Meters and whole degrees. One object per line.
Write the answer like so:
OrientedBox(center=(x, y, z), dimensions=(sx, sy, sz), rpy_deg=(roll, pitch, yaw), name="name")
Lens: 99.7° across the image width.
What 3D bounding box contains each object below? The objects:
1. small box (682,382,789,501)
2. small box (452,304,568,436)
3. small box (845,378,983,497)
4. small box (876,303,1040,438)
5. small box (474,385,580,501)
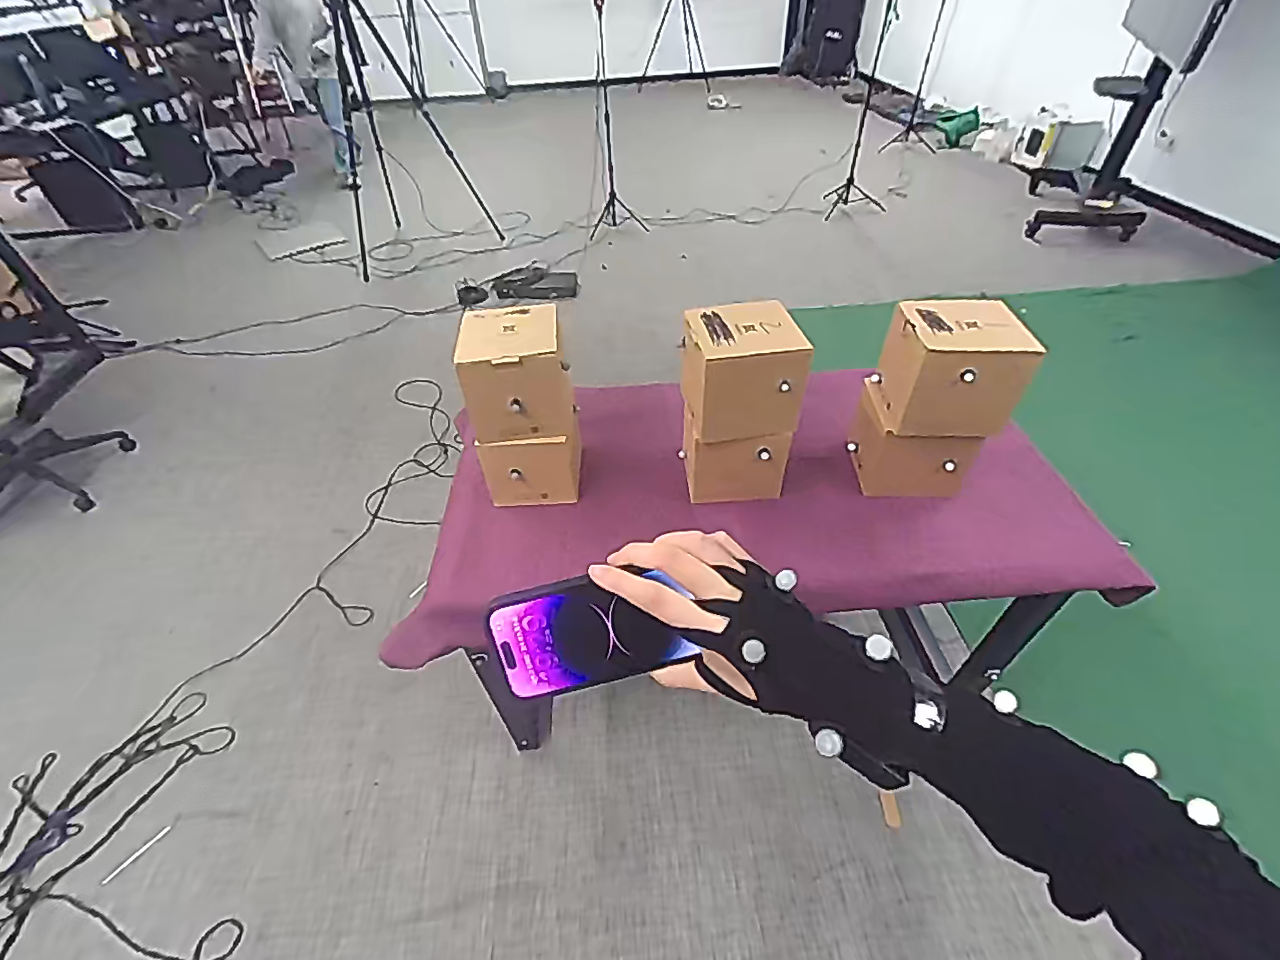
OrientedBox(center=(0.177, -0.074, 1.058), dimensions=(0.179, 0.176, 0.168), rpy_deg=(-3, 45, 0), name="small box")
OrientedBox(center=(-0.221, -0.191, 0.966), dimensions=(0.168, 0.176, 0.179), rpy_deg=(-6, 45, -4), name="small box")
OrientedBox(center=(0.517, -0.080, 1.048), dimensions=(0.179, 0.176, 0.168), rpy_deg=(1, 44, 5), name="small box")
OrientedBox(center=(0.520, -0.186, 0.922), dimensions=(0.179, 0.176, 0.168), rpy_deg=(2, 45, 4), name="small box")
OrientedBox(center=(-0.214, -0.069, 1.076), dimensions=(0.168, 0.176, 0.179), rpy_deg=(-2, 45, 1), name="small box")
